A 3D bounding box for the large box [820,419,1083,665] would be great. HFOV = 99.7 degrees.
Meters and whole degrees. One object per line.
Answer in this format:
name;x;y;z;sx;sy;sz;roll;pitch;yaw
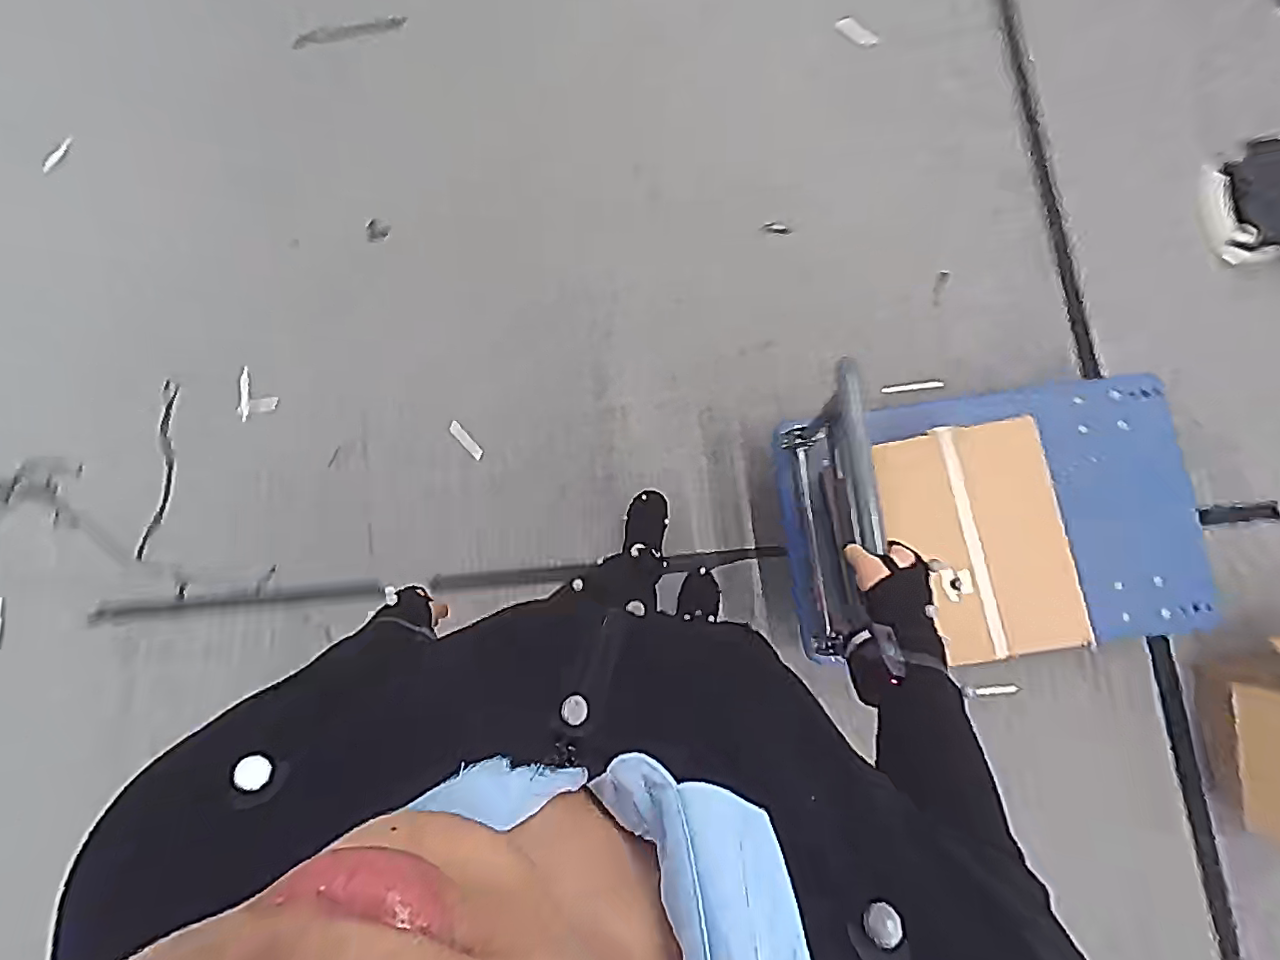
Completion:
large box;0.600;0.121;1.117;0.320;0.320;0.408;-11;84;6
